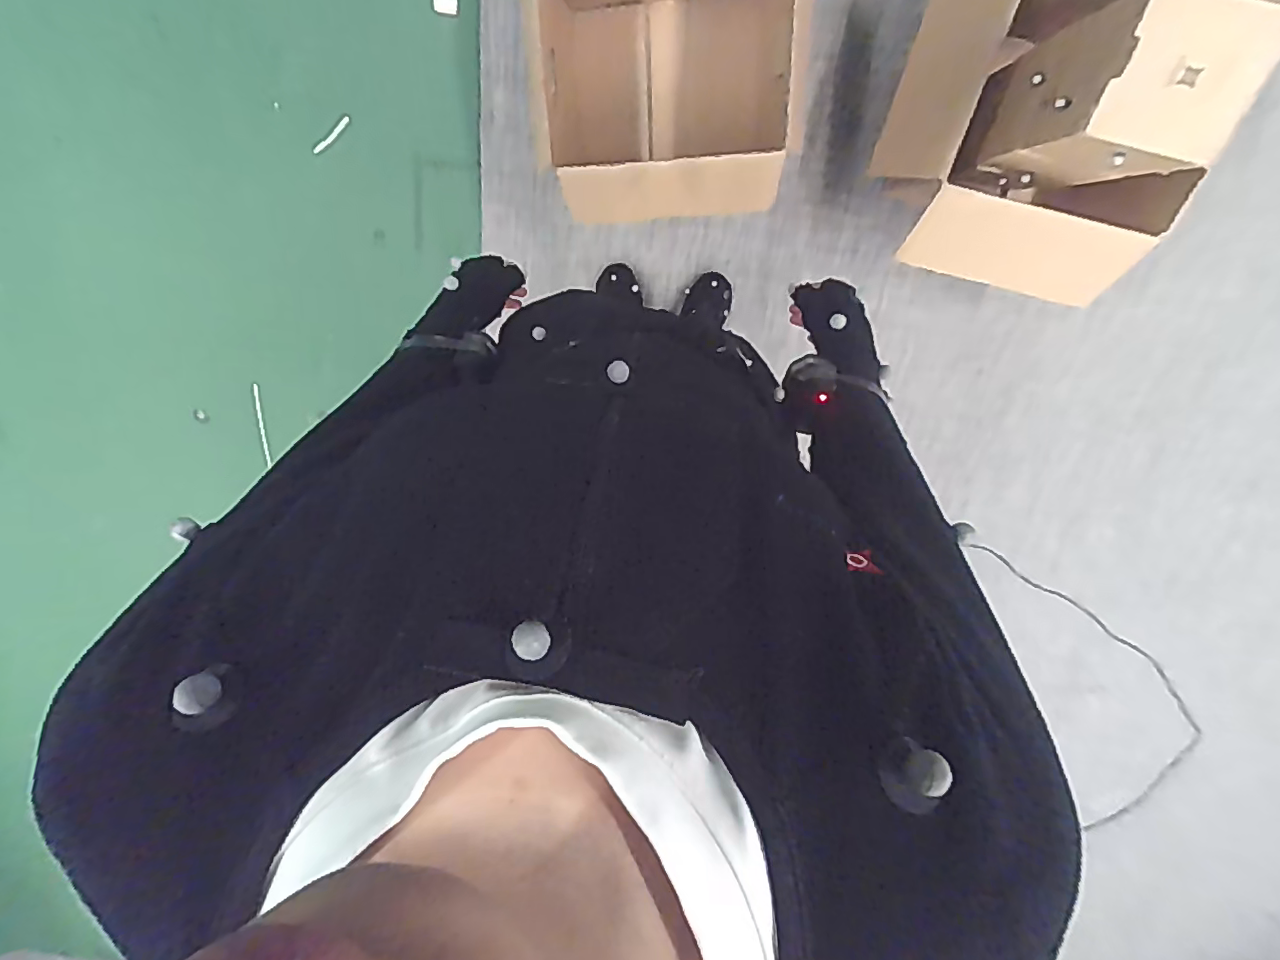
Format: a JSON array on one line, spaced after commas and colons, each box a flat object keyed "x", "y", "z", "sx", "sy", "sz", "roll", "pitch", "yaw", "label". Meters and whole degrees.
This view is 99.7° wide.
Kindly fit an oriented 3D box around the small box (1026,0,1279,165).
[{"x": 0.693, "y": -0.550, "z": 0.751, "sx": 0.179, "sy": 0.176, "sz": 0.168, "roll": 13, "pitch": 117, "yaw": 0, "label": "small box"}]

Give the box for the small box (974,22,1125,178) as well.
[{"x": 0.709, "y": -0.615, "z": 0.899, "sx": 0.179, "sy": 0.176, "sz": 0.168, "roll": 14, "pitch": 115, "yaw": 0, "label": "small box"}]
